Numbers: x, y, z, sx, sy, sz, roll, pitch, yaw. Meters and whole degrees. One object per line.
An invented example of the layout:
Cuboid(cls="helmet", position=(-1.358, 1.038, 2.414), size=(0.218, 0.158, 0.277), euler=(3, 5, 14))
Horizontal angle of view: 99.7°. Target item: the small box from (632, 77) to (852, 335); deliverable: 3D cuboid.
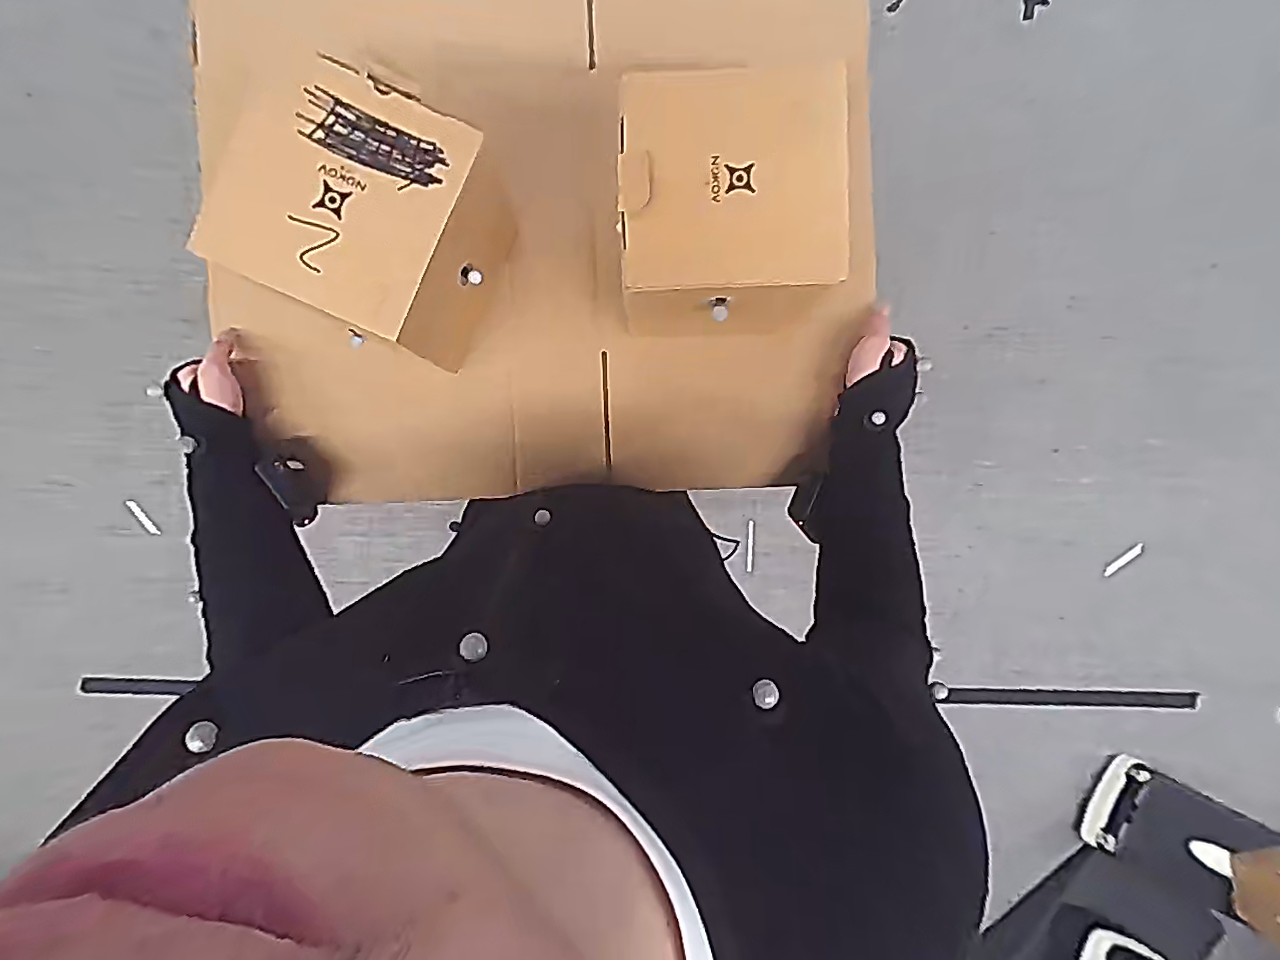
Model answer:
Cuboid(cls="small box", position=(0.083, -0.239, 0.511), size=(0.179, 0.176, 0.168), euler=(-1, 92, 2))
